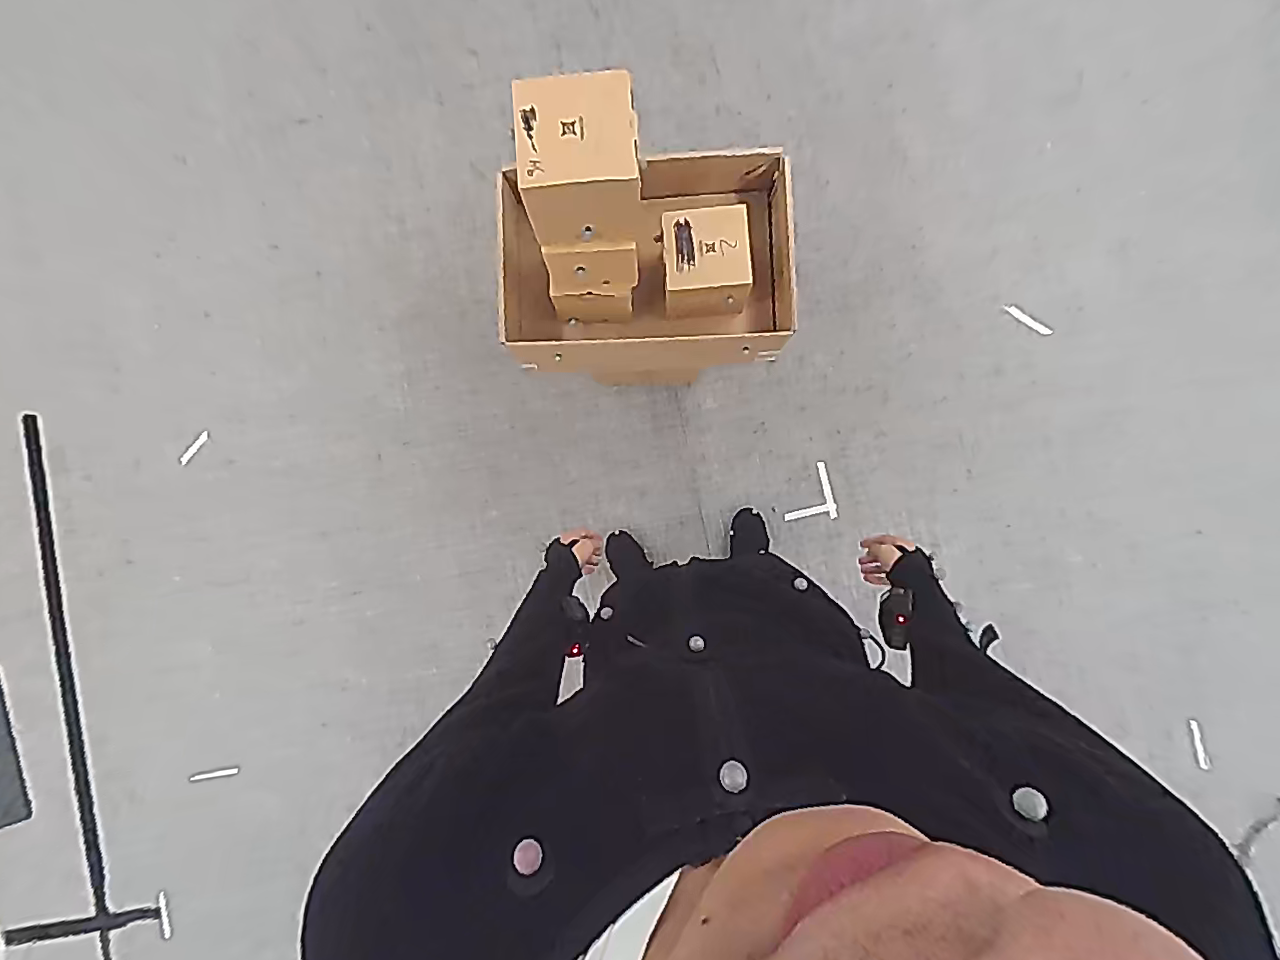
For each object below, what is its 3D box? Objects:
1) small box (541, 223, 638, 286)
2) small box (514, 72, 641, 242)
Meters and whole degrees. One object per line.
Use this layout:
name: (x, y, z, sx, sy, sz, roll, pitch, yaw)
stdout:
small box: (-0.090, -0.477, 1.014, 0.168, 0.176, 0.179, -3, 86, 0)
small box: (-0.092, -0.496, 0.851, 0.179, 0.176, 0.168, -4, 86, 0)
